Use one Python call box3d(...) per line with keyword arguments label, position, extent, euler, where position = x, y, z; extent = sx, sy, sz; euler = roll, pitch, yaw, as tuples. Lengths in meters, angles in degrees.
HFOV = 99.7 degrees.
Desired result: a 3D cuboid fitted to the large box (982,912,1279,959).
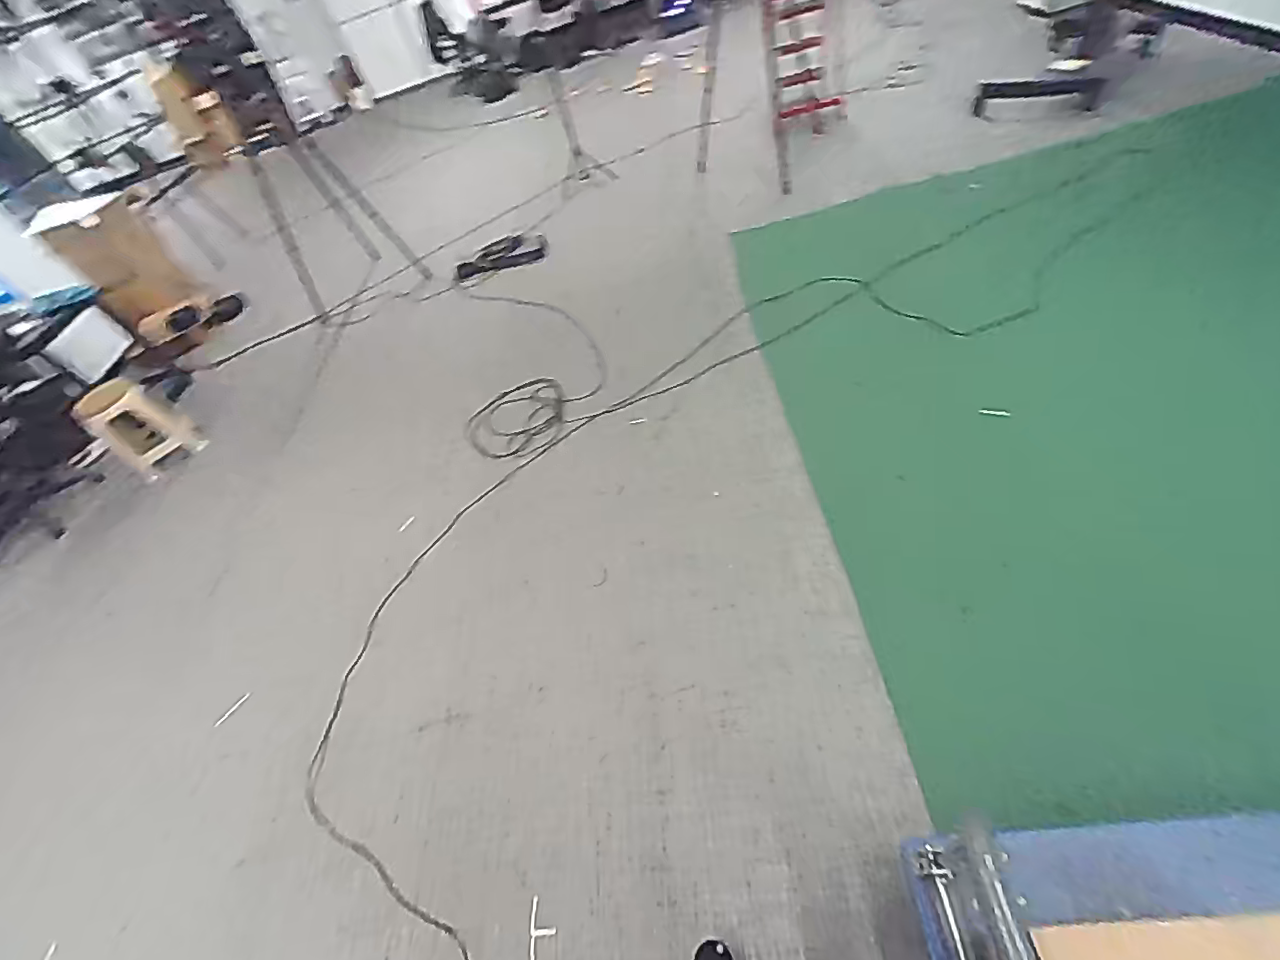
box3d(label="large box", position=(0.796, 0.831, 0.770), extent=(0.408, 0.320, 0.320), euler=(-10, 49, 9))
